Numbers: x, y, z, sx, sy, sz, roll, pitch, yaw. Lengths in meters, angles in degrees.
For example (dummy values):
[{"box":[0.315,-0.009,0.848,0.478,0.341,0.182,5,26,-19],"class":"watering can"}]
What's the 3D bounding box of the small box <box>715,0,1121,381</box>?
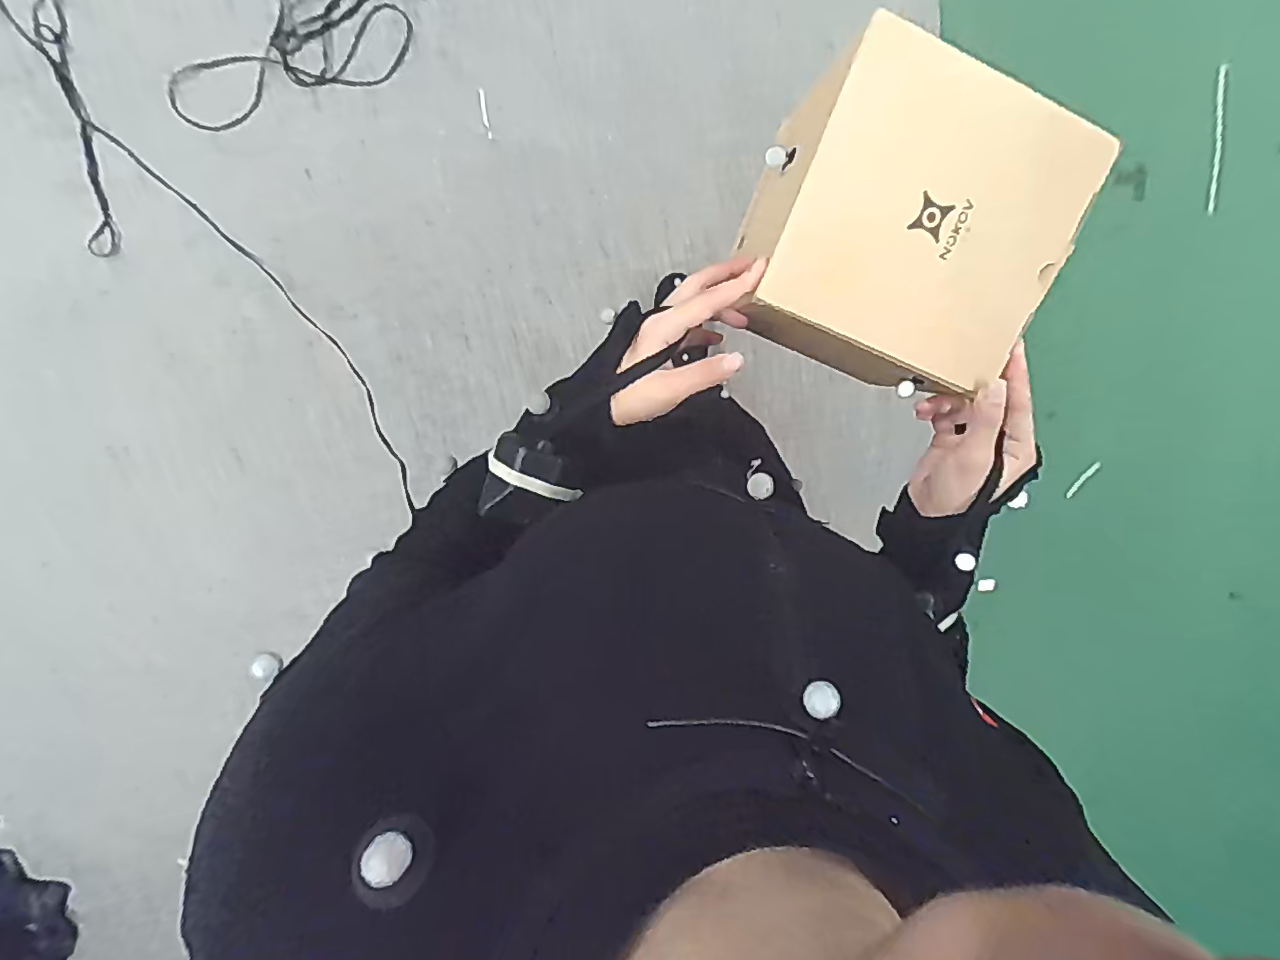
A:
[{"box":[0.173,-0.184,0.403,0.179,0.176,0.168,19,103,-9],"class":"small box"}]
